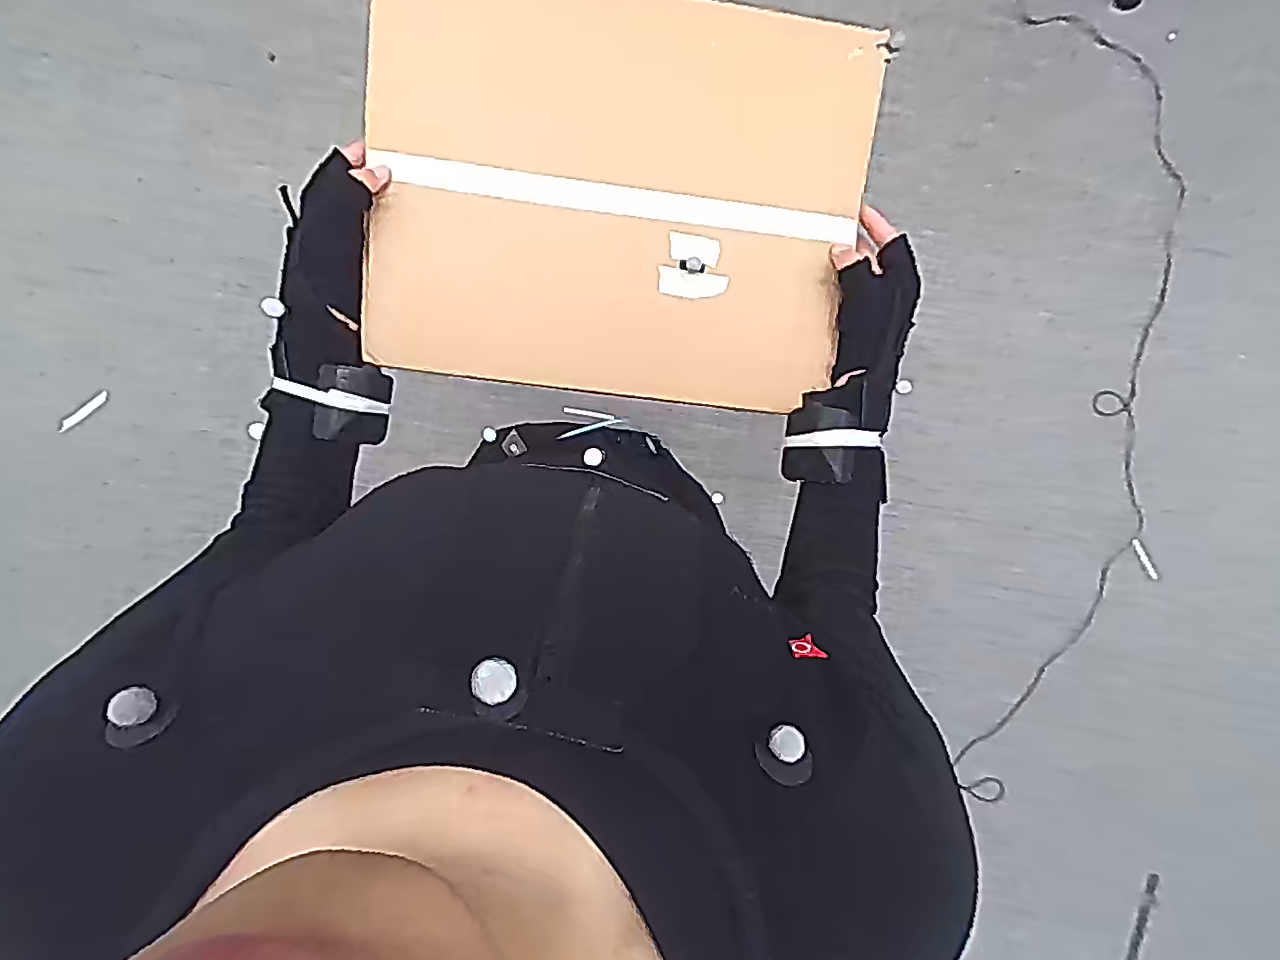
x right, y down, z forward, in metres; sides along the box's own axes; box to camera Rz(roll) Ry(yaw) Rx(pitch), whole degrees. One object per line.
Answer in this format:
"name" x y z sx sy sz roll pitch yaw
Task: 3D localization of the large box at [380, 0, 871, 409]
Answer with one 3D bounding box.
"large box" -0.028 -0.257 0.607 0.408 0.320 0.320 6 101 -5
